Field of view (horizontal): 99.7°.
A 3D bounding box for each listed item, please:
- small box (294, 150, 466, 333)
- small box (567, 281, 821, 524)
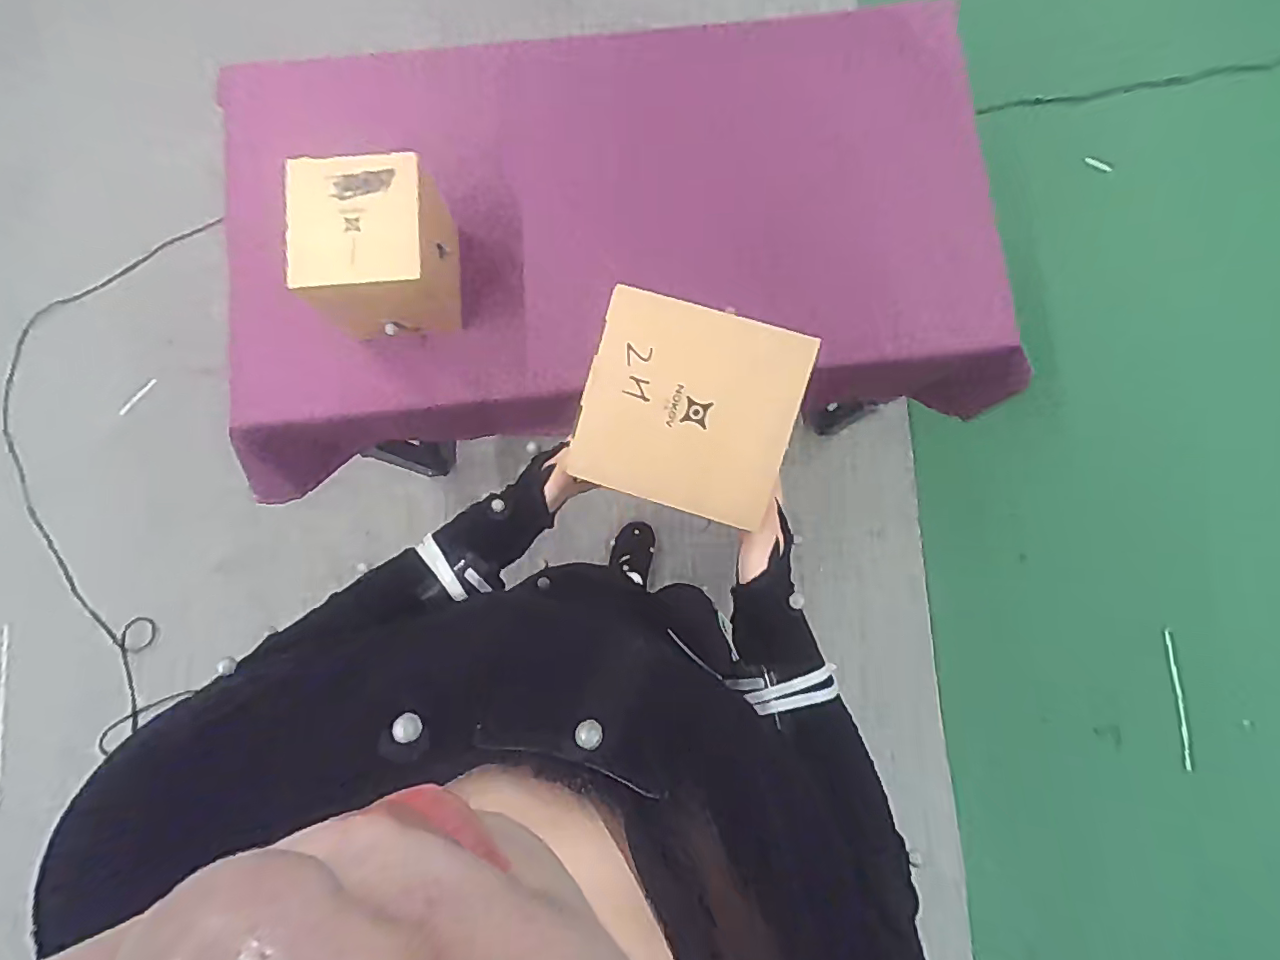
[{"bbox_3d":[-0.352,-0.324,0.758,0.168,0.176,0.179,-4,84,-1],"label":"small box"},{"bbox_3d":[0.050,-0.071,0.530,0.179,0.176,0.168,17,96,5],"label":"small box"}]
